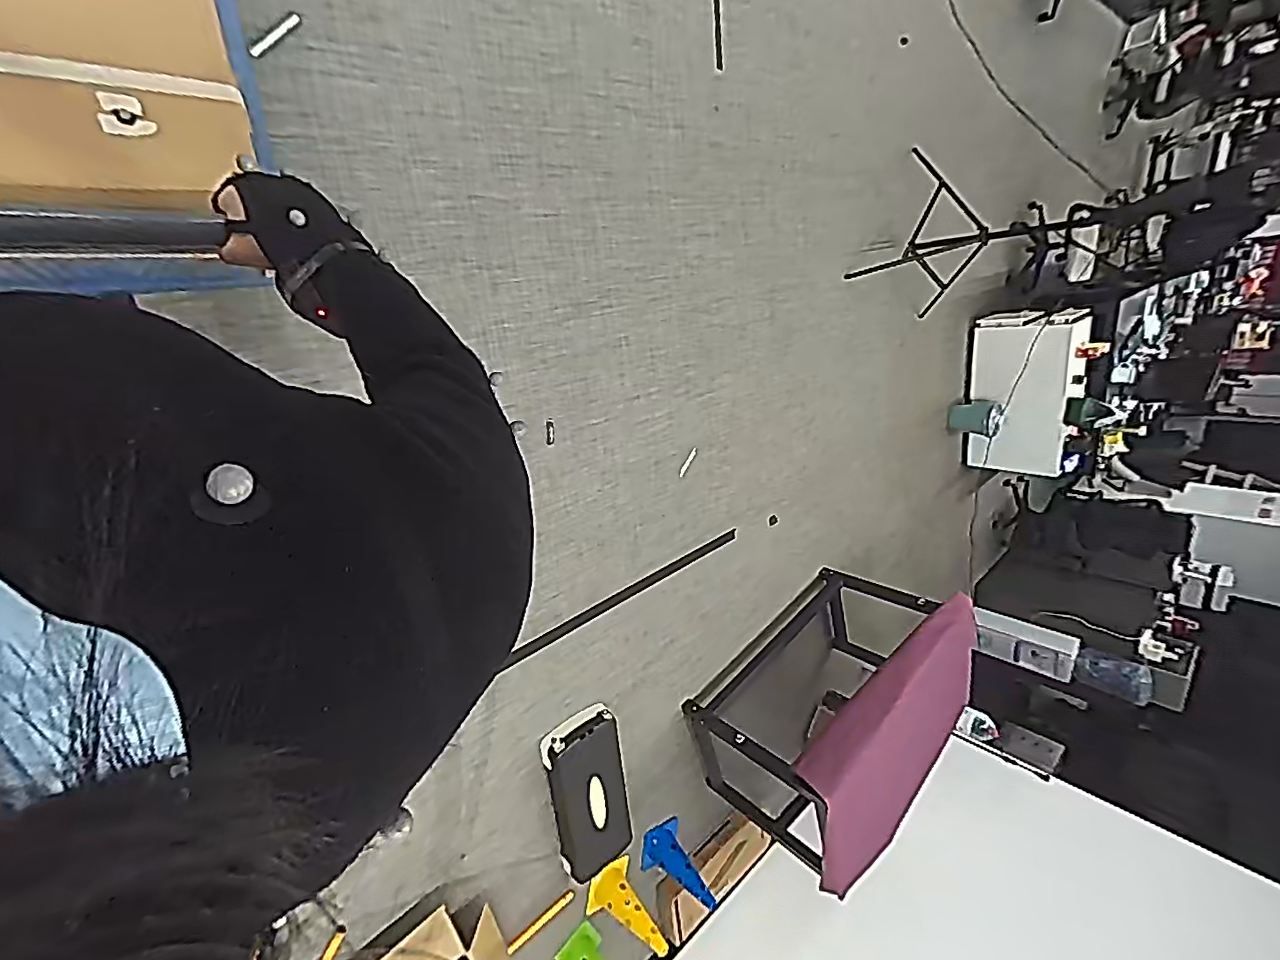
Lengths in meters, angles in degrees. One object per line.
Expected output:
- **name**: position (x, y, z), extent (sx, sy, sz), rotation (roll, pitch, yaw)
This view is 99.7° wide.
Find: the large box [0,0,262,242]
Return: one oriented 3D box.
- **large box**: position (-0.841, -0.536, 0.778), extent (0.408, 0.320, 0.320), rotation (-19, 112, -38)
